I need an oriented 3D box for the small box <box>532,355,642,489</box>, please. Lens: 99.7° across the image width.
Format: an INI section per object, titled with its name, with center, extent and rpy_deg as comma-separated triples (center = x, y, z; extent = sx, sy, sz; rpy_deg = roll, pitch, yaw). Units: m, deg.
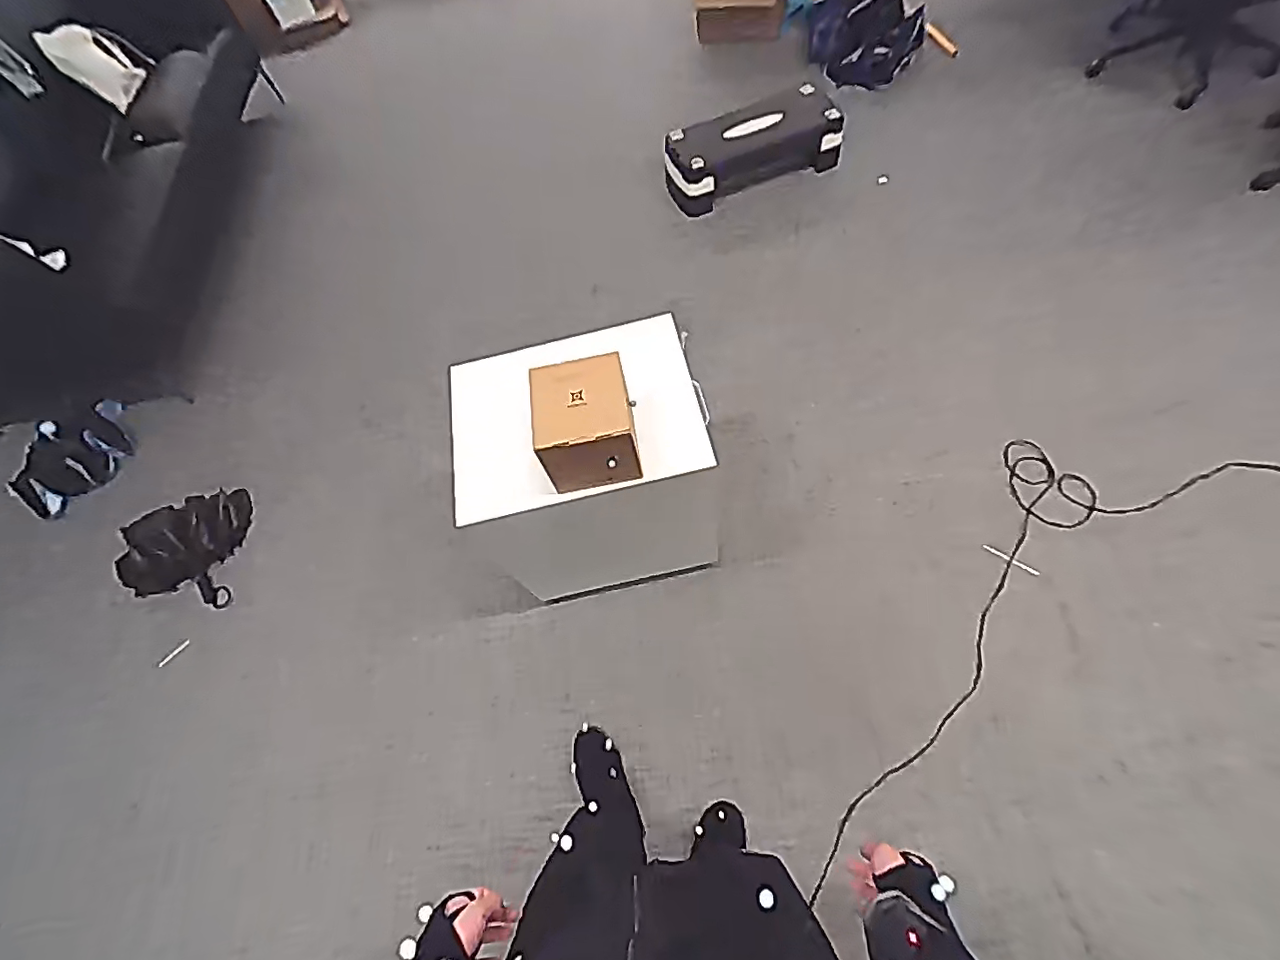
[small box]
center = -0.094, -0.097, 0.995
extent = 0.168, 0.176, 0.179
rpy_deg = -10, 60, 2
